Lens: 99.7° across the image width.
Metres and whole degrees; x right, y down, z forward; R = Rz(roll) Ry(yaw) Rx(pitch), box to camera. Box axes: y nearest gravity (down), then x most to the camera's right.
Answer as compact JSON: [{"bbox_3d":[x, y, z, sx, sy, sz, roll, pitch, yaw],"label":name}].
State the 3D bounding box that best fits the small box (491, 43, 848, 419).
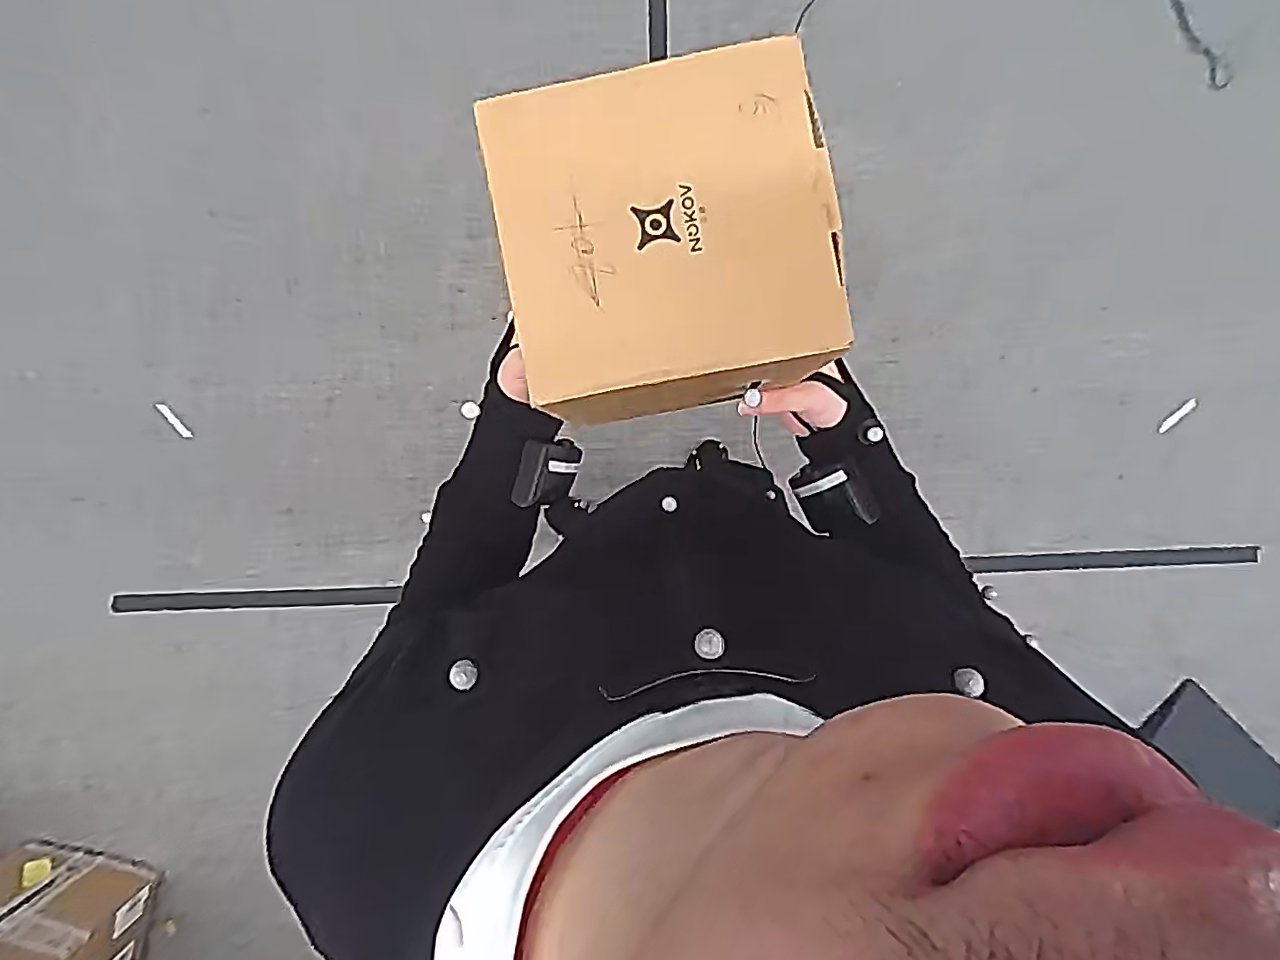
[{"bbox_3d":[0.018,-0.143,0.376,0.179,0.176,0.168,-11,89,3],"label":"small box"}]
